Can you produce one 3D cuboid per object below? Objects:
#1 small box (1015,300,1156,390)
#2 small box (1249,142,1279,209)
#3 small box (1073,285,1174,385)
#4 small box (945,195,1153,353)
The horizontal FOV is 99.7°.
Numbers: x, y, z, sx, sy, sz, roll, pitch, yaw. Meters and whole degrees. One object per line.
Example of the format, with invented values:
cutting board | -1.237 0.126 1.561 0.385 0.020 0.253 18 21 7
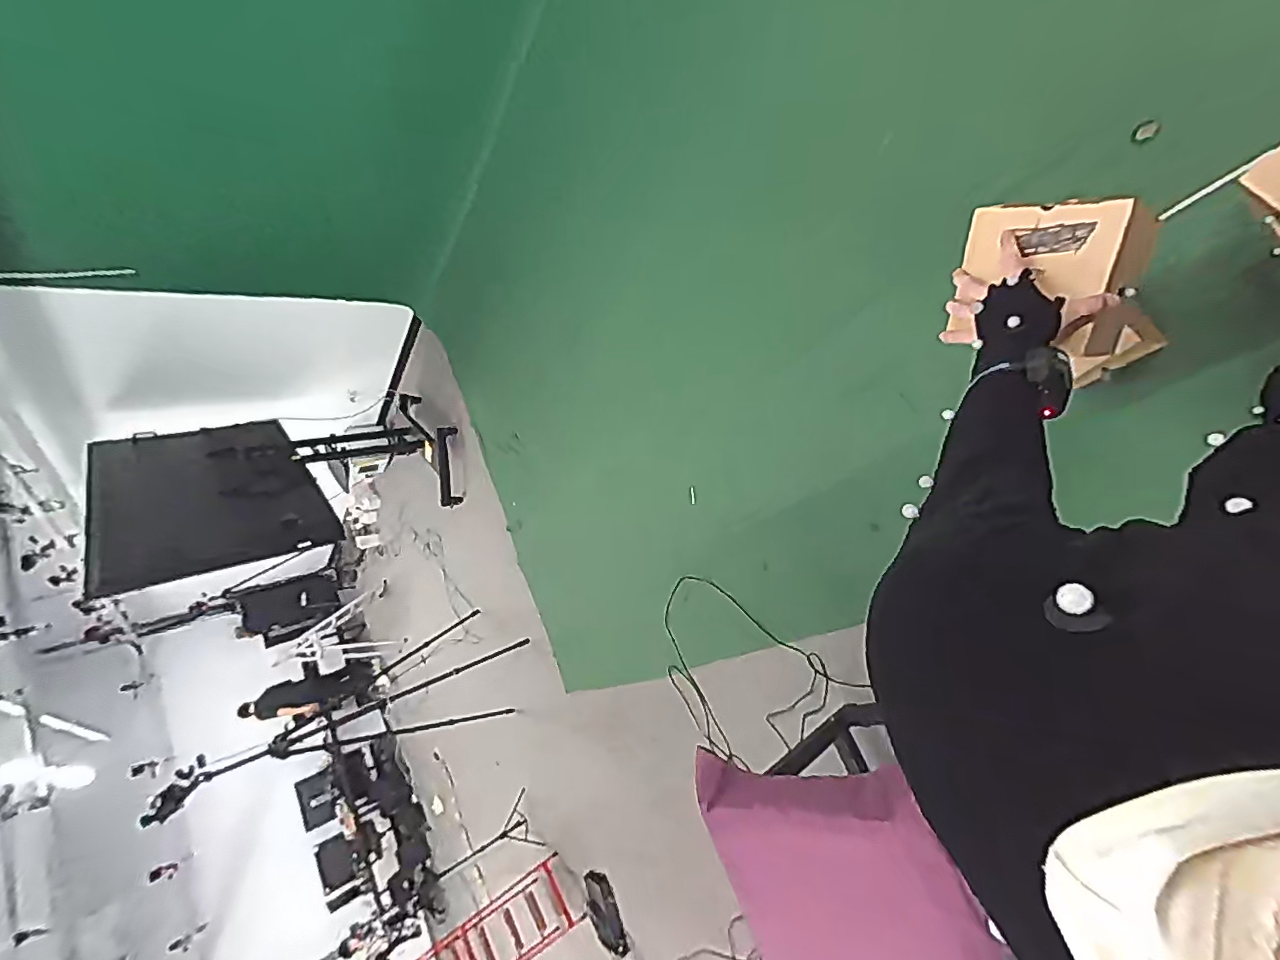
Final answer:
small box | 0.886 -0.301 1.088 0.179 0.176 0.168 -43 66 47
small box | 1.078 -0.471 0.804 0.179 0.176 0.168 60 139 19
small box | 1.014 -0.331 1.185 0.168 0.176 0.179 -40 68 49
small box | 0.554 -0.272 0.734 0.168 0.176 0.179 26 120 47
